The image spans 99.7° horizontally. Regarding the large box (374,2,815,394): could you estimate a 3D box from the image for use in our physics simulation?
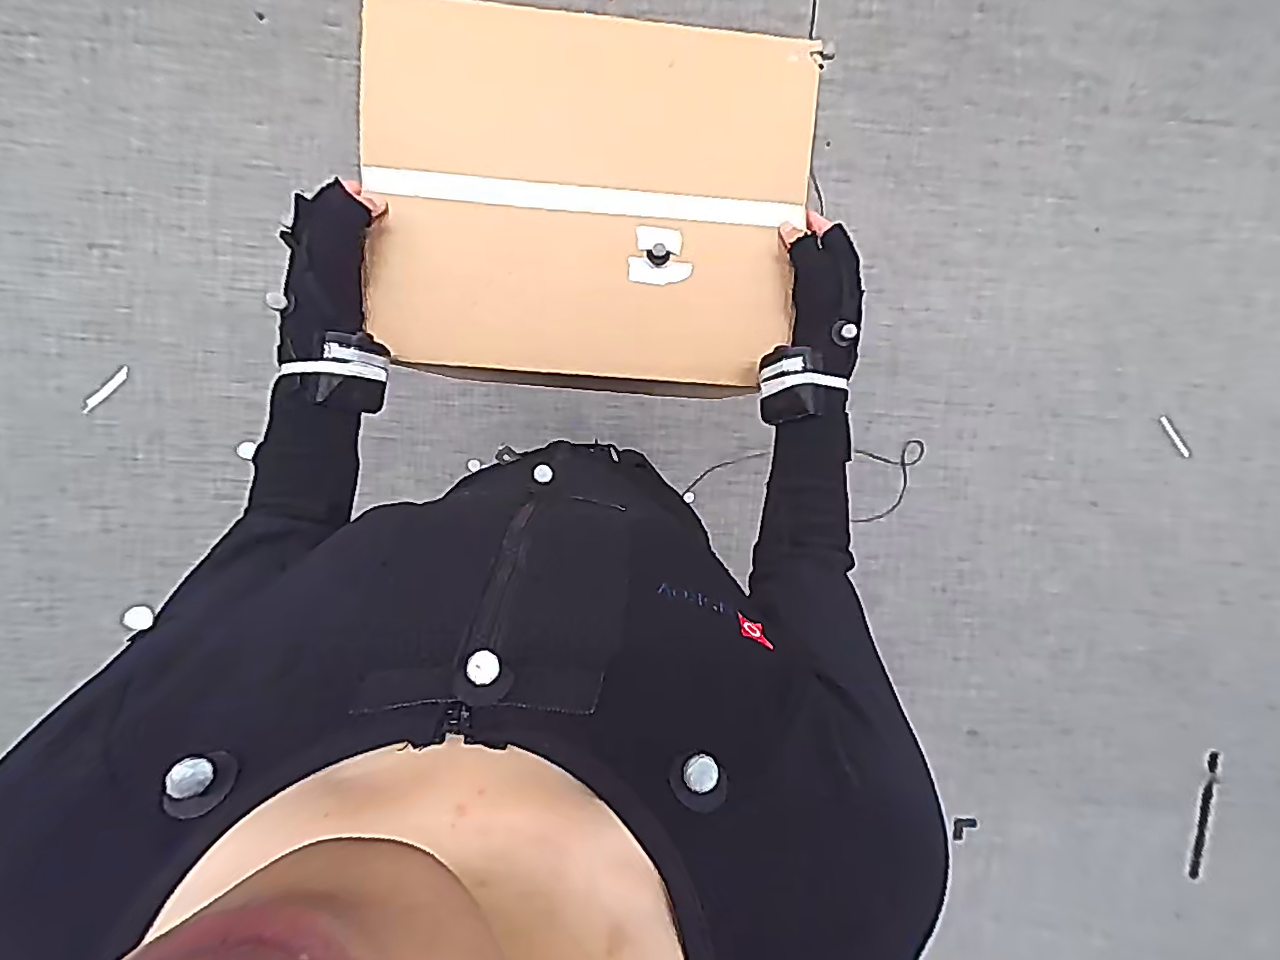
[{"bbox_3d":[-0.054,-0.276,0.650,0.408,0.320,0.320,3,97,-4],"label":"large box"}]
